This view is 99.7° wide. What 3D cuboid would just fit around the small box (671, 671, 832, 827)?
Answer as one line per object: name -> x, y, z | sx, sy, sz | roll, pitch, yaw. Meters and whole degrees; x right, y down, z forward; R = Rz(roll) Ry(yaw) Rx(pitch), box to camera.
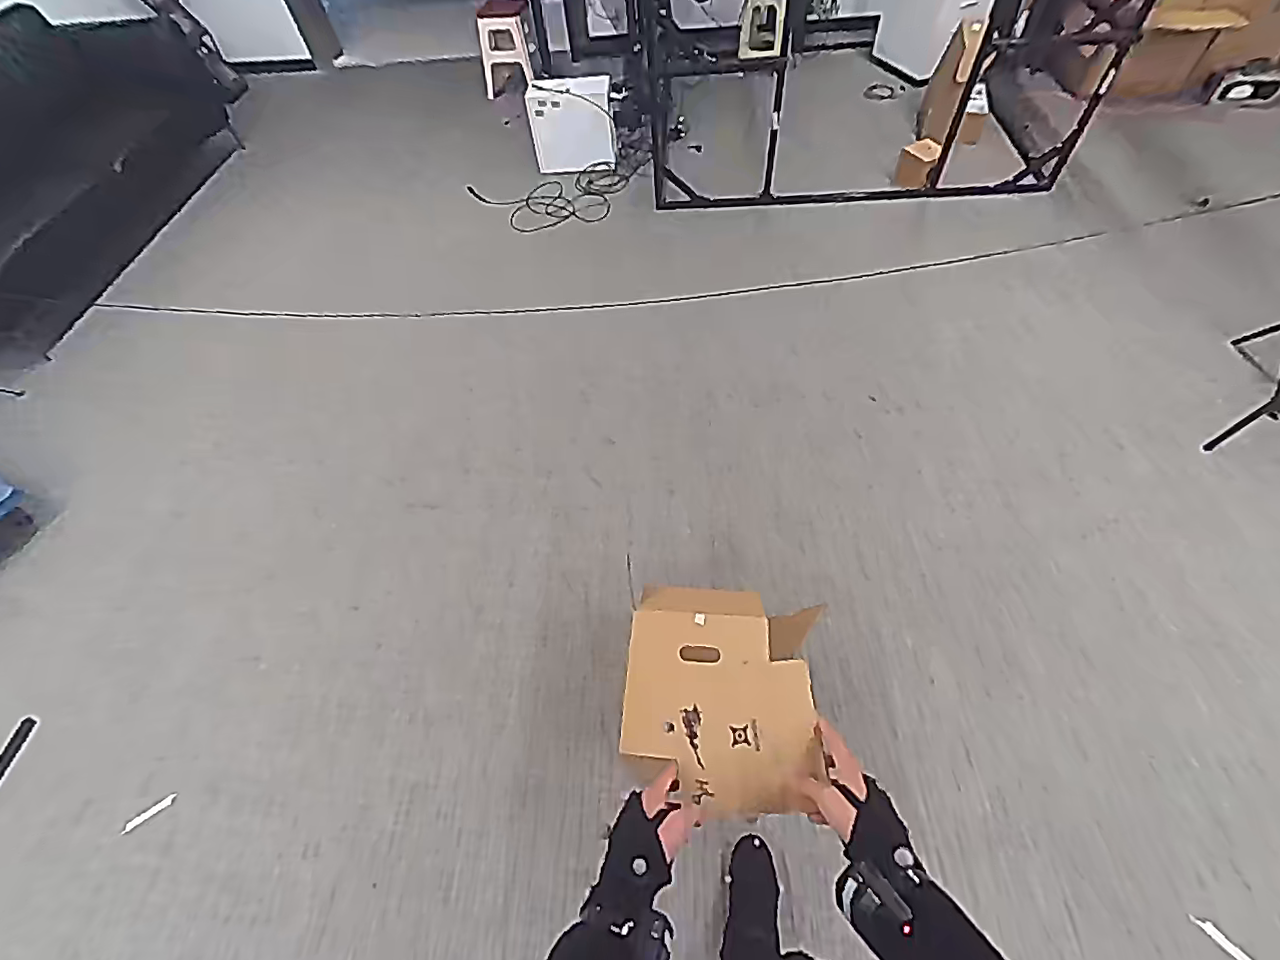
small box -> 0.136, 0.356, 0.725 | 0.179, 0.176, 0.168 | -6, 62, 3
